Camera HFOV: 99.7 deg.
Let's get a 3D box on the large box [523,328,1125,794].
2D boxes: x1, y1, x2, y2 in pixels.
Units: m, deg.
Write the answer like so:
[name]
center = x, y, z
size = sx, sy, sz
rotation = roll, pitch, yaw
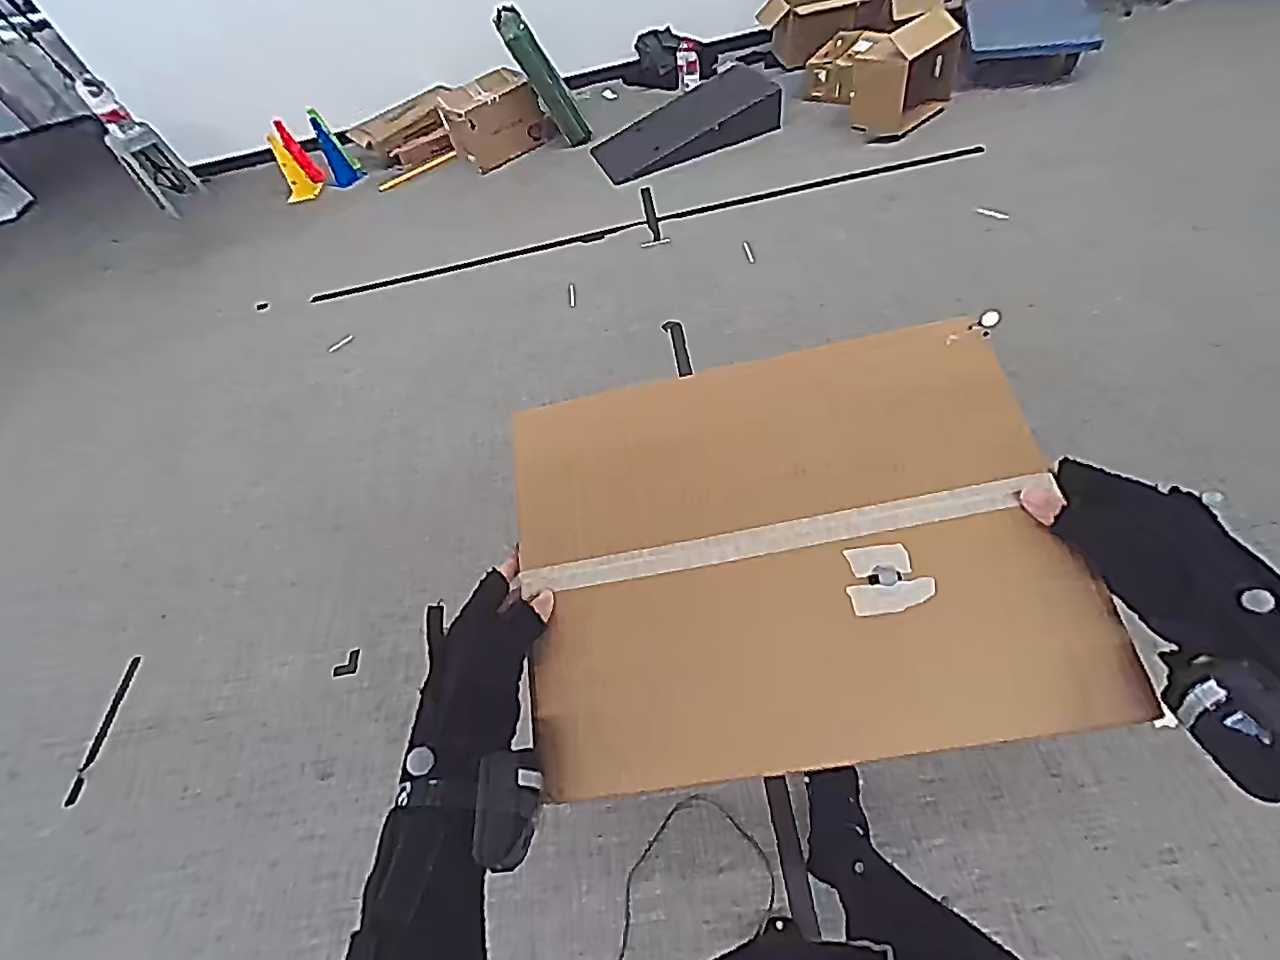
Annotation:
[large box]
center = 0.129, 0.100, 0.567
size = 0.408, 0.320, 0.320
rotation = -12, 68, 5
